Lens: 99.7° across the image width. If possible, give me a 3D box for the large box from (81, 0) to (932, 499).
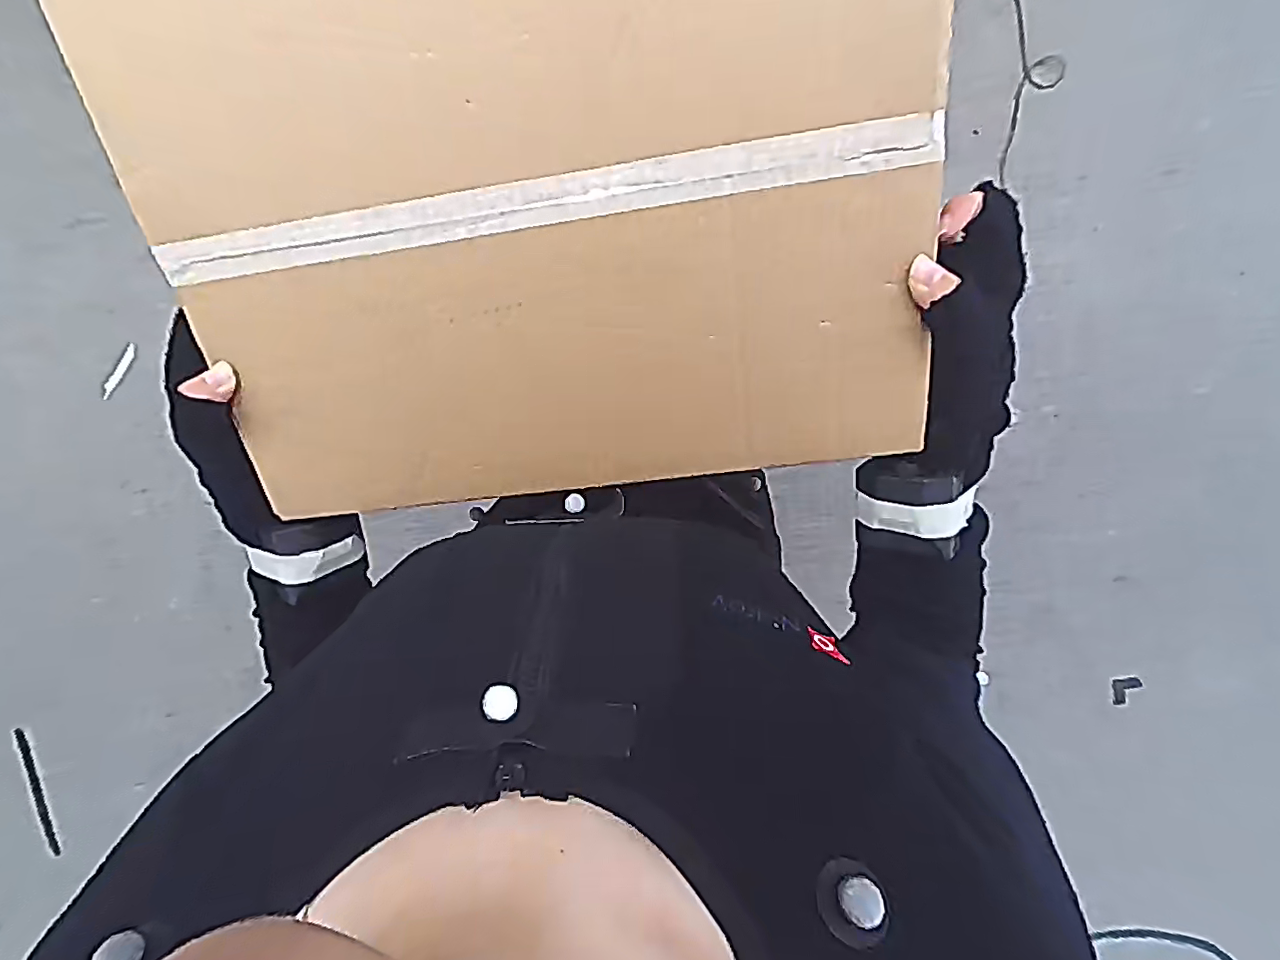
[{"bbox_3d":[-0.052,-0.207,0.421,0.408,0.320,0.320,-6,114,6],"label":"large box"}]
